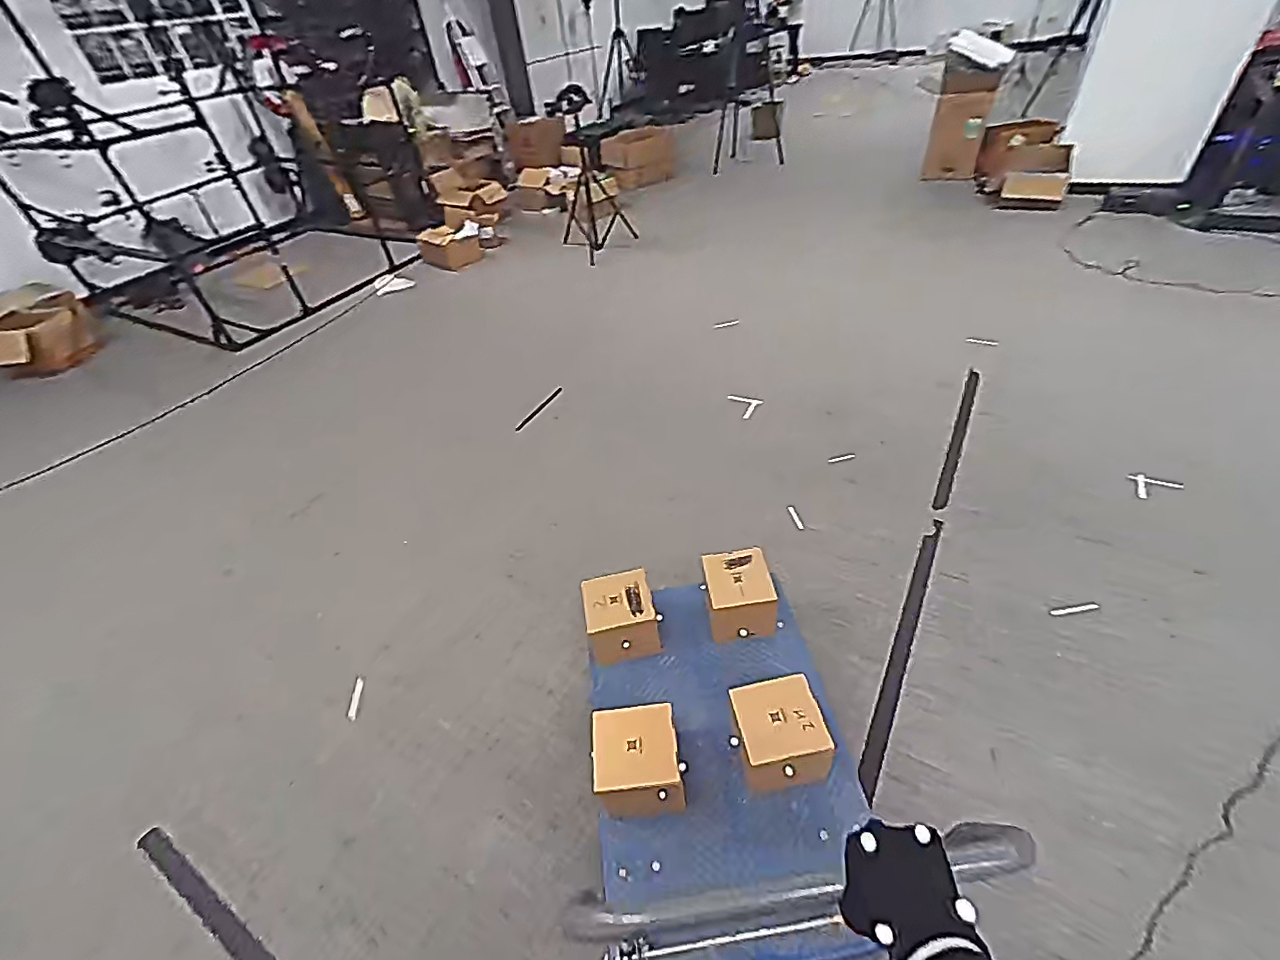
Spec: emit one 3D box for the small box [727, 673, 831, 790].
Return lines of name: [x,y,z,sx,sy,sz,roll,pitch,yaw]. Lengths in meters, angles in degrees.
small box: [0.300,0.557,1.192,0.179,0.176,0.168,-11,42,-3]

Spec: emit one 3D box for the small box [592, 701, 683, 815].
small box: [-0.005,0.611,1.183,0.179,0.176,0.168,-7,41,-1]

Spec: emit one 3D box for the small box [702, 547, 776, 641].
small box: [0.262,0.311,1.471,0.168,0.176,0.179,-8,43,0]
